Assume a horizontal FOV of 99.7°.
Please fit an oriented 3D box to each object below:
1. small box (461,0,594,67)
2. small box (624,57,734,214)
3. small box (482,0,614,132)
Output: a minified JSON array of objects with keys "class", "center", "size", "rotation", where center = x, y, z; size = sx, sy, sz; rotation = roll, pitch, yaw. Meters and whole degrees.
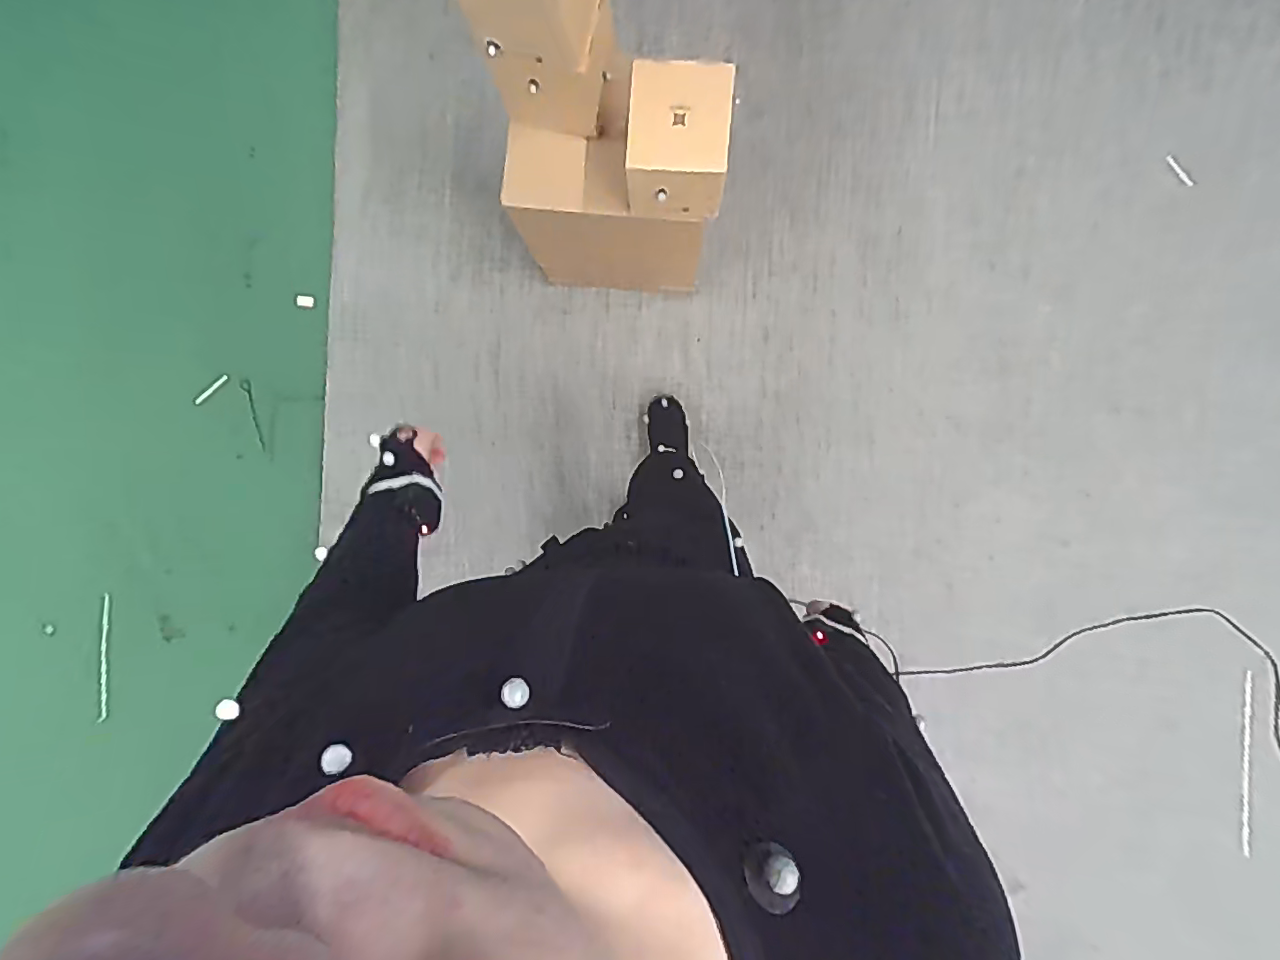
[{"class":"small box","center":[-0.163,-0.757,0.789],"size":[0.168,0.176,0.179],"rotation":[14,90,3]},{"class":"small box","center":[0.066,-0.588,0.944],"size":[0.168,0.176,0.179],"rotation":[4,91,2]},{"class":"small box","center":[-0.153,-0.755,0.954],"size":[0.179,0.176,0.168],"rotation":[12,91,2]}]
